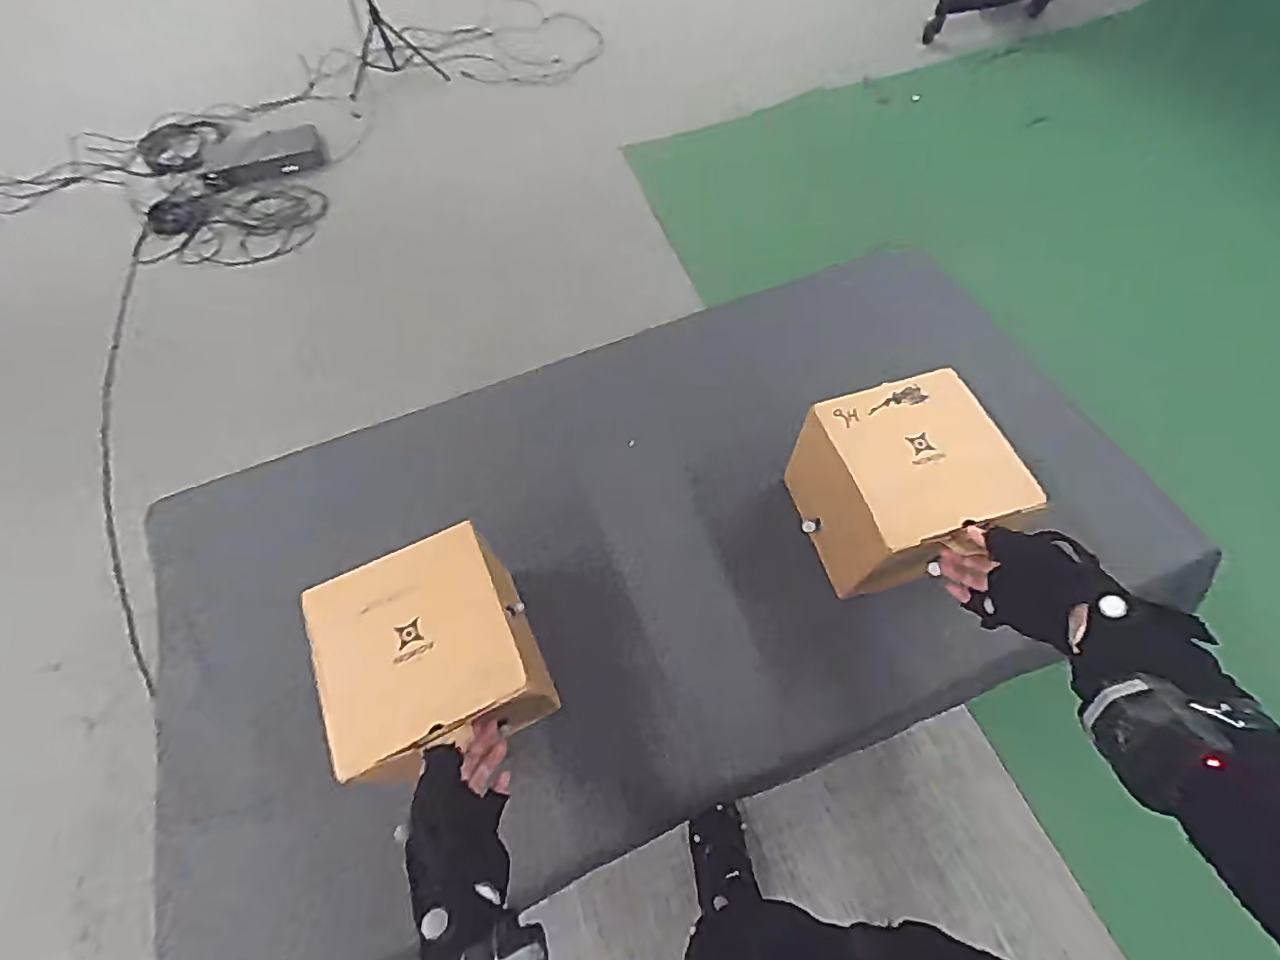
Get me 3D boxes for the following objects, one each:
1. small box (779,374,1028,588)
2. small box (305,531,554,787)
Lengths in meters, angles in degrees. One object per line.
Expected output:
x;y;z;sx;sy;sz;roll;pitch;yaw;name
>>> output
0.279;0.013;0.622;0.168;0.176;0.179;-16;64;-5;small box
-0.204;0.187;0.560;0.168;0.176;0.179;-25;63;-12;small box
